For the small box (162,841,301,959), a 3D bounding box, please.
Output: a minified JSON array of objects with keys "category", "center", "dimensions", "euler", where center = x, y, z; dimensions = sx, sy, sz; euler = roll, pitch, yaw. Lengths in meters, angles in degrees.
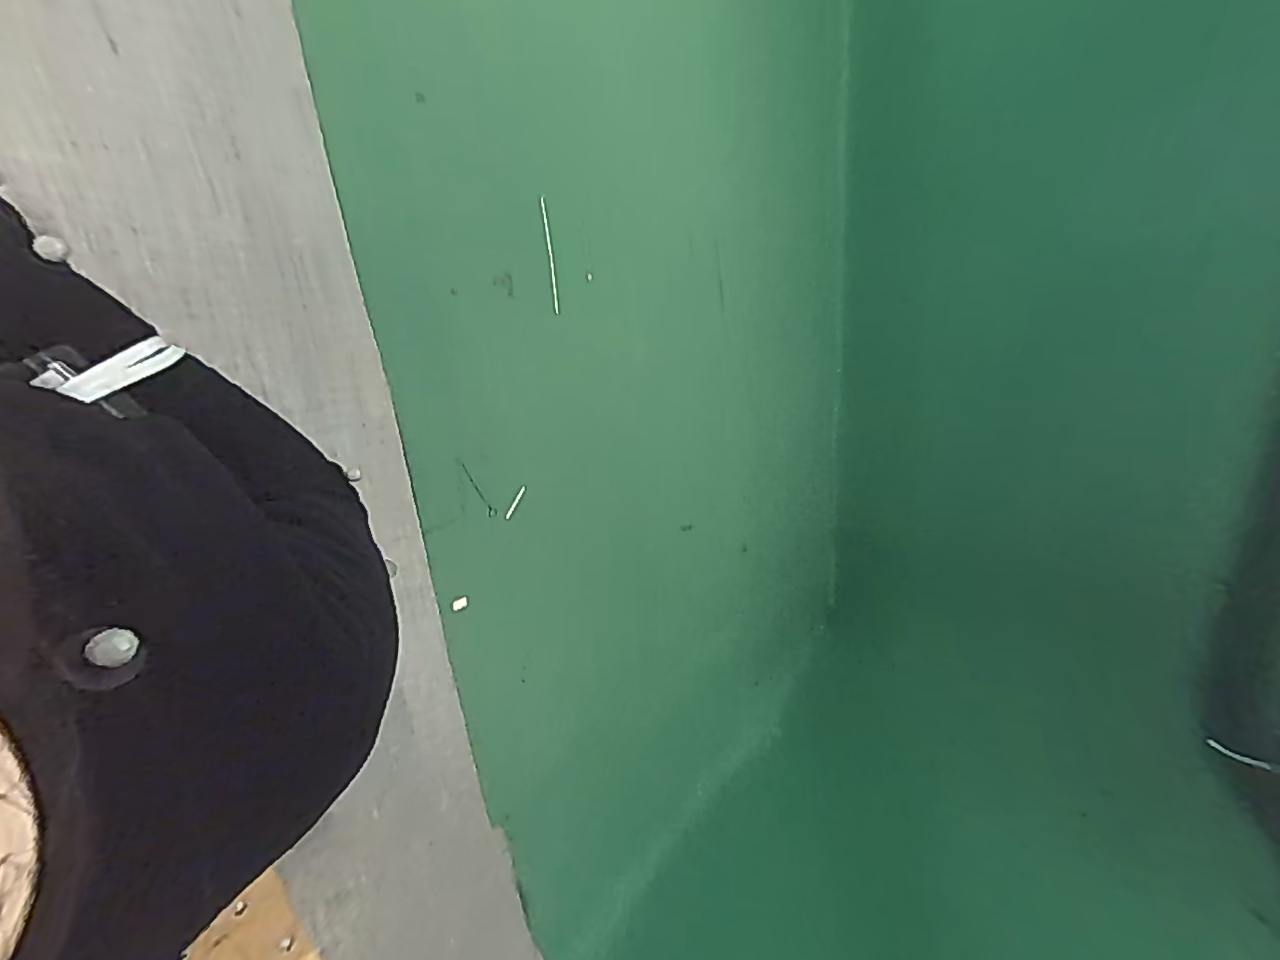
[{"category":"small box","center":[-0.777,0.848,1.030],"dimensions":[0.168,0.176,0.179],"euler":[-16,113,-47]}]
